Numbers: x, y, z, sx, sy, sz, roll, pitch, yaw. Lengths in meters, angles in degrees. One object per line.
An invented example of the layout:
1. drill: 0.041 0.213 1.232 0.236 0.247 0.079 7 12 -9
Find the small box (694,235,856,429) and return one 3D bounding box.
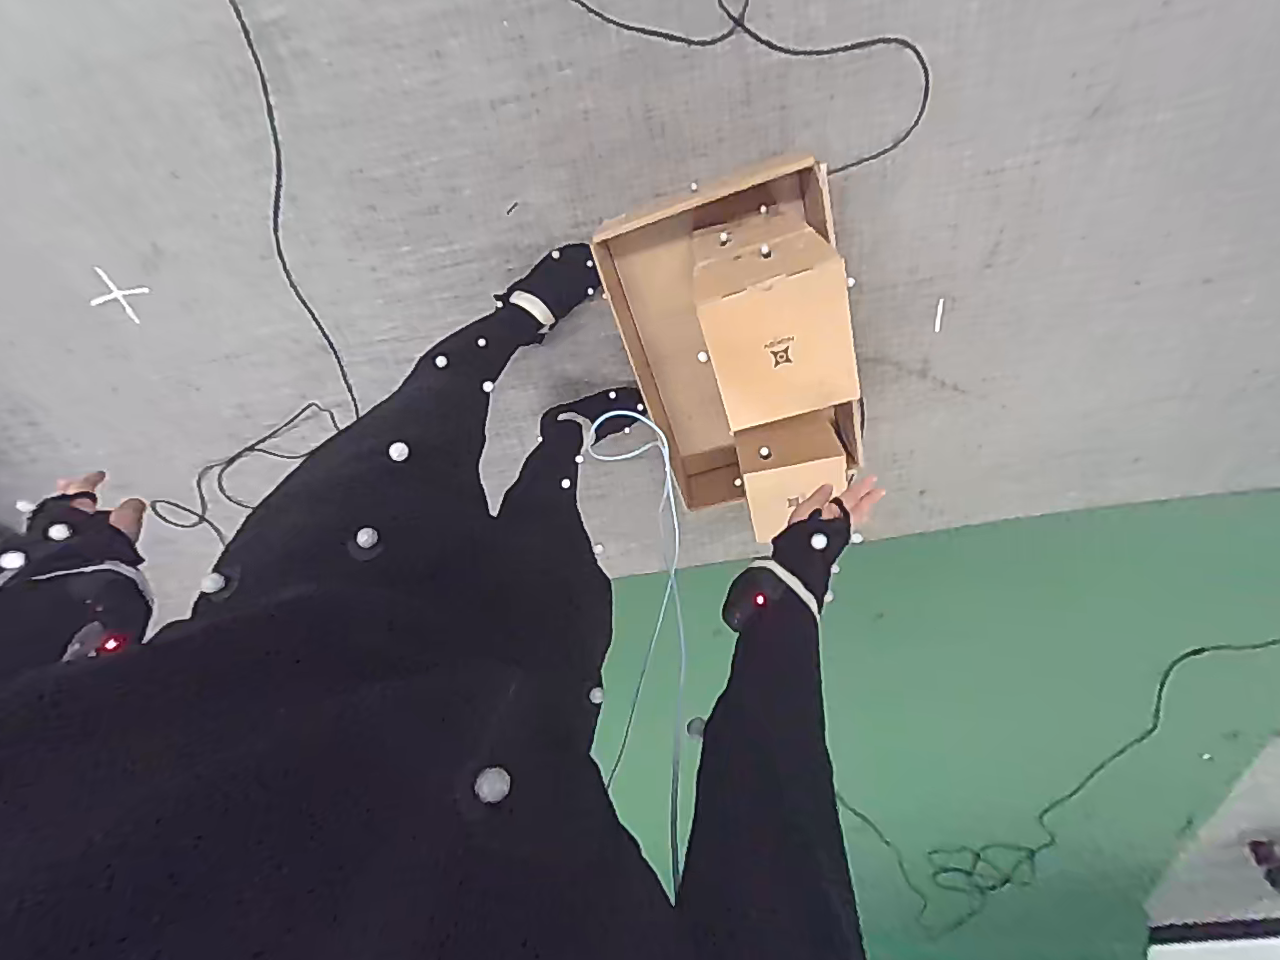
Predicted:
1. small box: 0.171 -0.196 0.710 0.168 0.176 0.179 -14 121 13

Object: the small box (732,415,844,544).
1. small box: 0.274 -0.004 1.026 0.179 0.176 0.168 -11 123 9

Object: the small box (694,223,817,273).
1. small box: 0.179 -0.287 0.844 0.168 0.176 0.179 -10 124 10
